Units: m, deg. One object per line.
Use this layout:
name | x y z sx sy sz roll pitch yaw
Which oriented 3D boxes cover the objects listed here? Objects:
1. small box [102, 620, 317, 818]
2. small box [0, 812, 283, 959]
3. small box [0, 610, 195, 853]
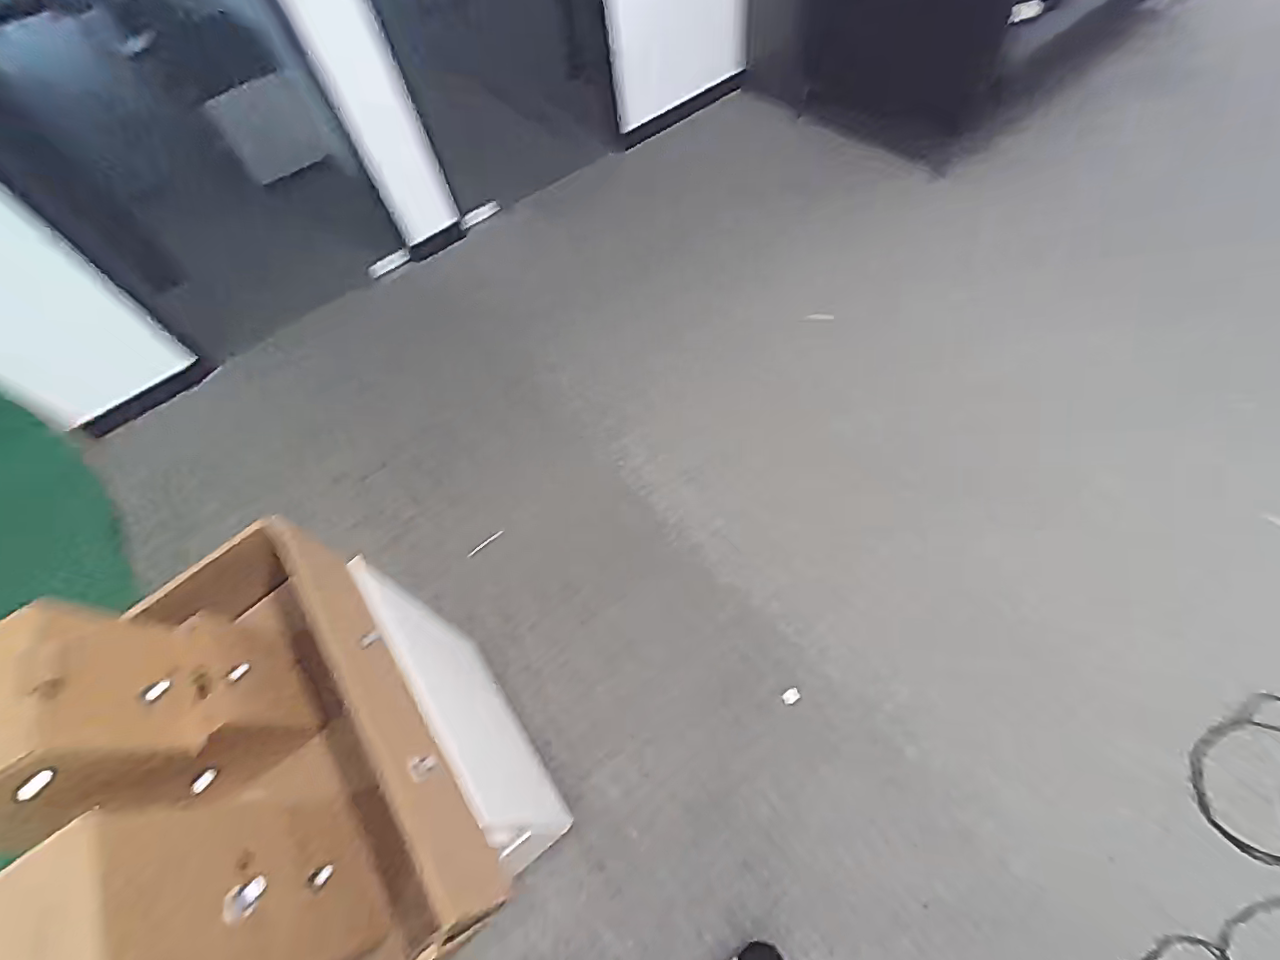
small box | -0.586 0.321 0.726 0.179 0.176 0.168 -38 64 -9
small box | -0.458 0.418 0.461 0.179 0.176 0.168 -36 61 -9
small box | -0.633 0.272 0.575 0.179 0.176 0.168 -34 62 -7
